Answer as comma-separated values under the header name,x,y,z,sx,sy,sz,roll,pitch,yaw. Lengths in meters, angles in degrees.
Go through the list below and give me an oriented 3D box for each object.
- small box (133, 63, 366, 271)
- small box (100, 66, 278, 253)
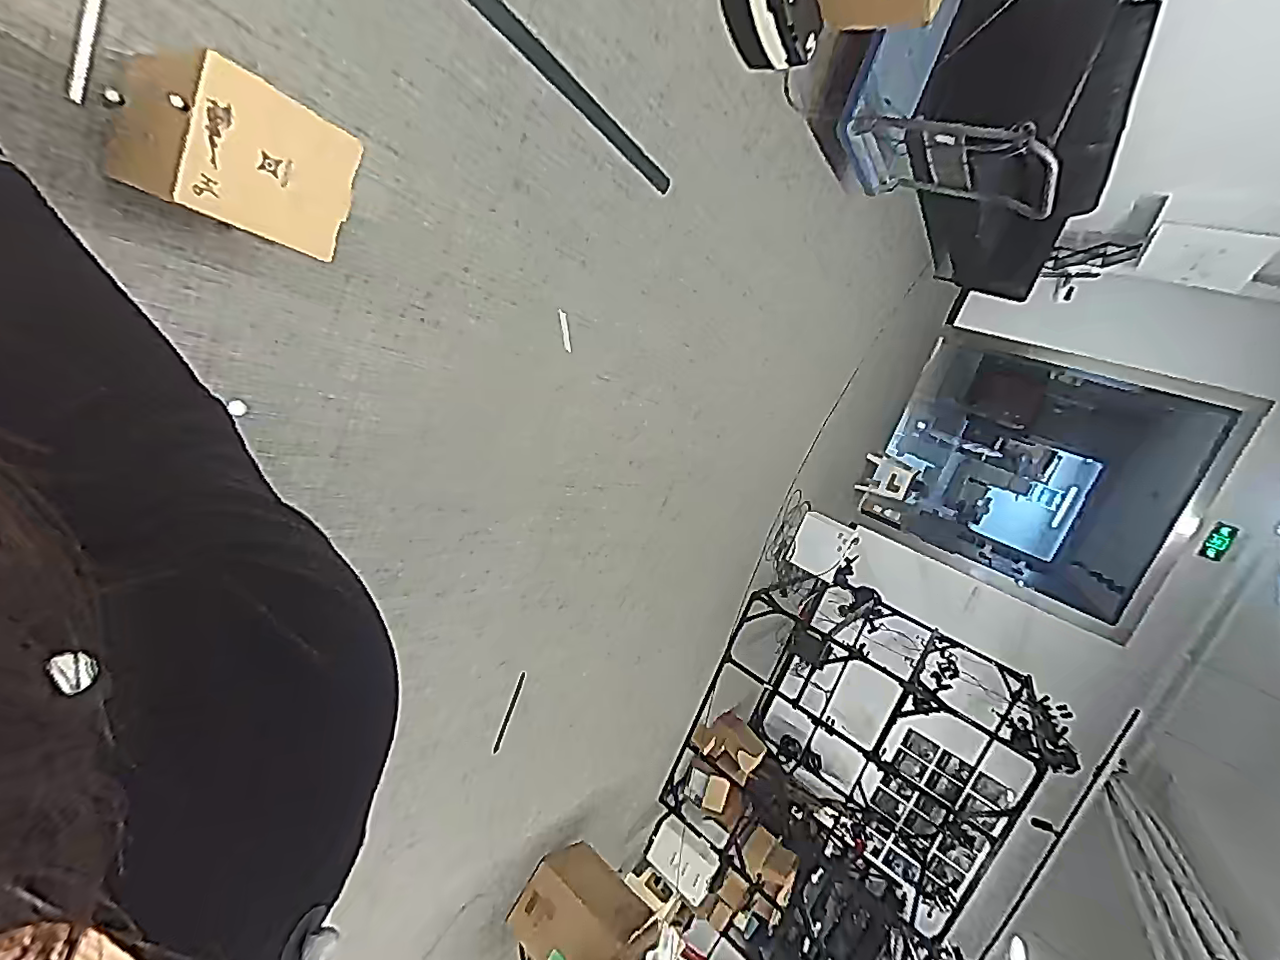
name,x,y,z,sx,sy,sz,roll,pitch,yaw
small box,-0.499,-0.397,0.696,0.179,0.176,0.168,8,106,-58
small box,-0.625,-0.459,0.781,0.179,0.176,0.168,11,104,-58
